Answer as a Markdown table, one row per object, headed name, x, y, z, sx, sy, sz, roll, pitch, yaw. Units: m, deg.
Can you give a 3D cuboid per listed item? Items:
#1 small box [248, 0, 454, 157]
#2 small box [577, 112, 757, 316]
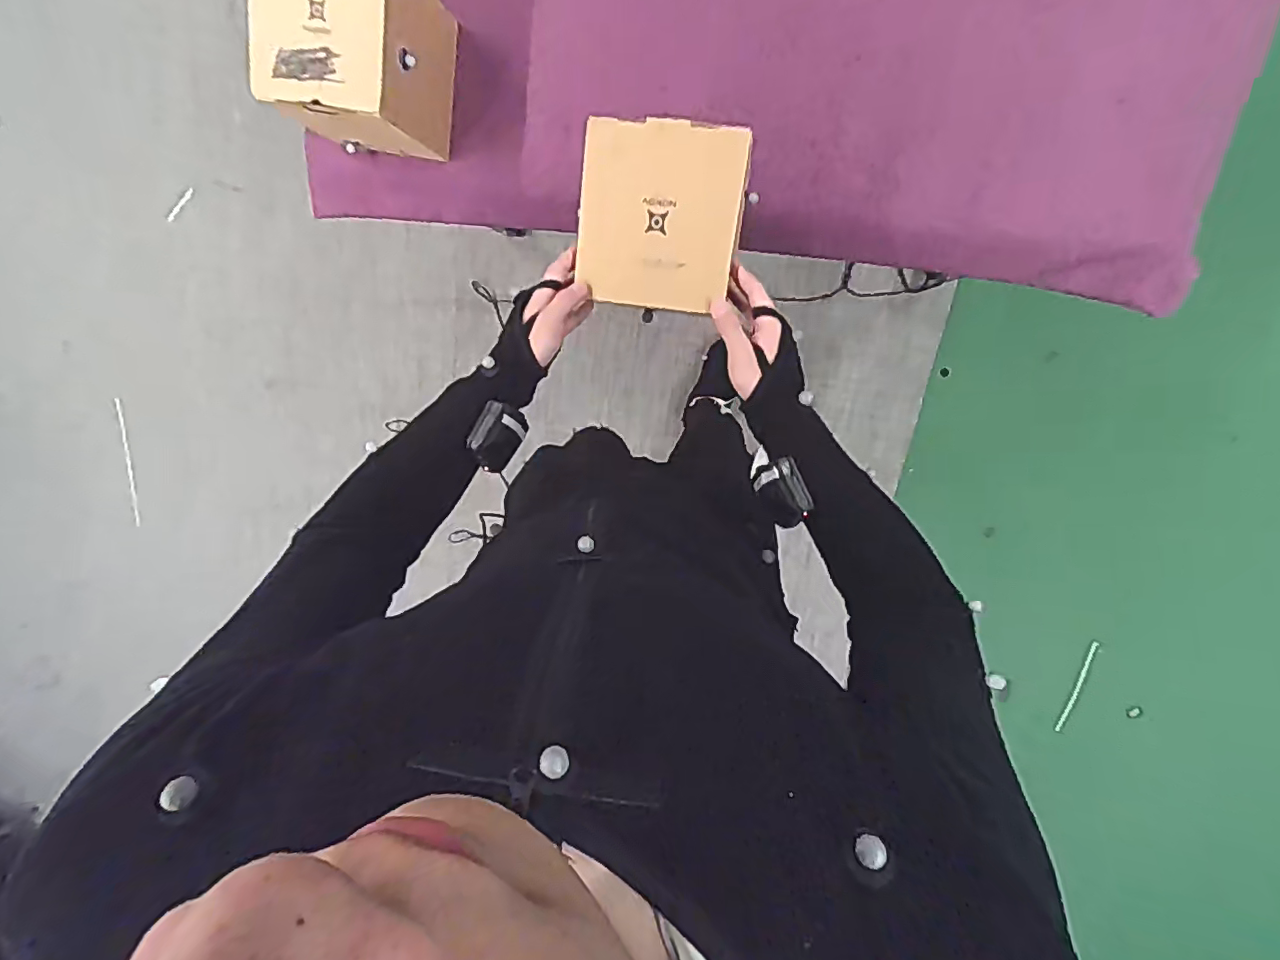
| name | x | y | z | sx | sy | sz | roll | pitch | yaw |
| --- | --- | --- | --- | --- | --- | --- | --- | --- | --- |
| small box | -0.349 | -0.532 | 0.678 | 0.168 | 0.176 | 0.179 | 11 | 105 | 4 |
| small box | 0.034 | -0.291 | 0.626 | 0.168 | 0.176 | 0.179 | 9 | 107 | 7 |
